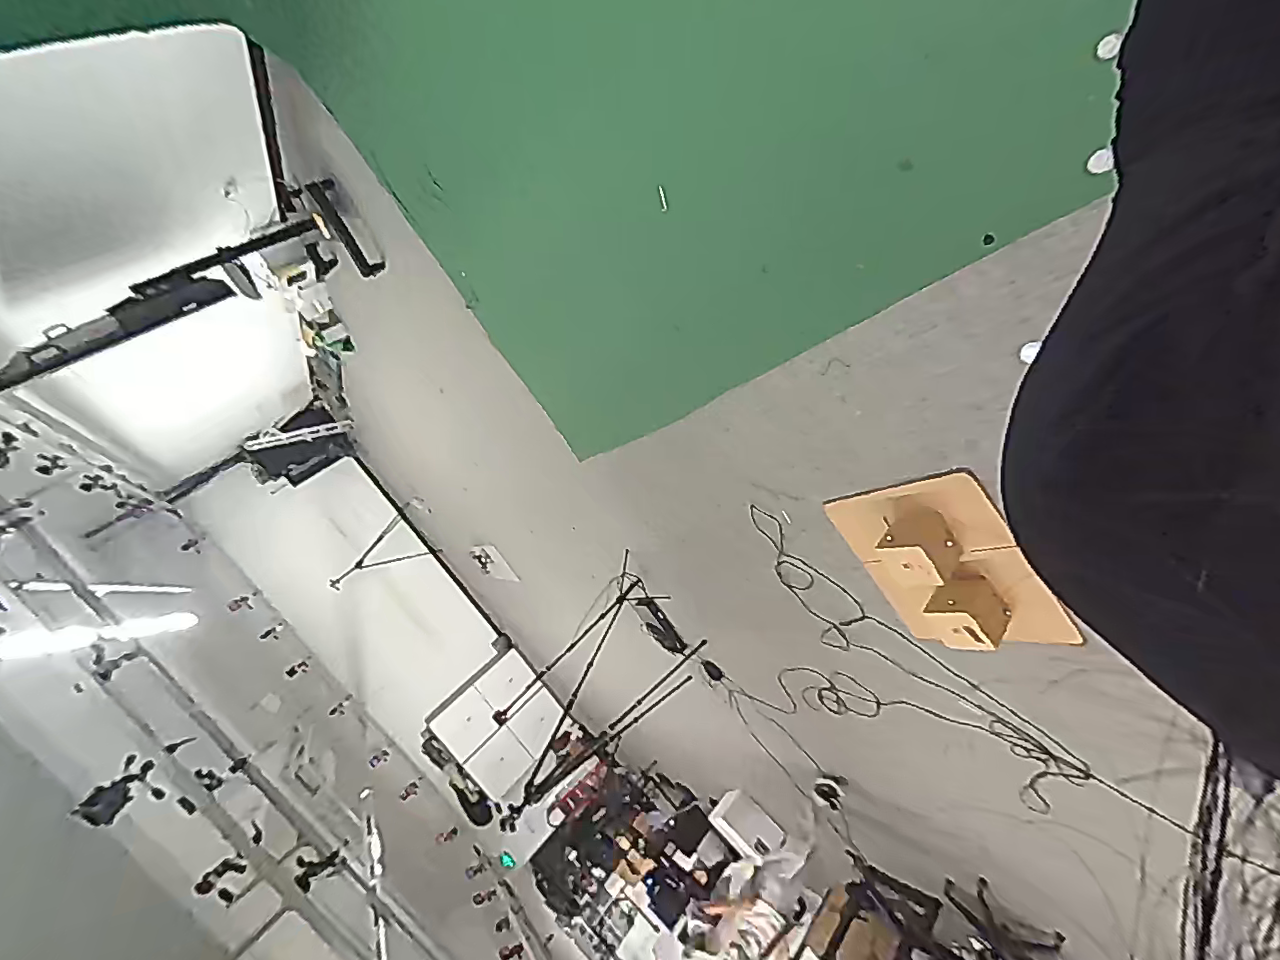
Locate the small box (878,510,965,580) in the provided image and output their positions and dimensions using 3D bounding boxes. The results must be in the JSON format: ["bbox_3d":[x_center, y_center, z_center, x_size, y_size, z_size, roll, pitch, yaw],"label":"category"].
[{"bbox_3d":[0.954,0.221,1.829,0.168,0.176,0.179,53,150,-11],"label":"small box"}]

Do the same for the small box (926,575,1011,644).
[{"bbox_3d":[1.129,0.439,1.845,0.168,0.176,0.179,51,152,-5],"label":"small box"}]
